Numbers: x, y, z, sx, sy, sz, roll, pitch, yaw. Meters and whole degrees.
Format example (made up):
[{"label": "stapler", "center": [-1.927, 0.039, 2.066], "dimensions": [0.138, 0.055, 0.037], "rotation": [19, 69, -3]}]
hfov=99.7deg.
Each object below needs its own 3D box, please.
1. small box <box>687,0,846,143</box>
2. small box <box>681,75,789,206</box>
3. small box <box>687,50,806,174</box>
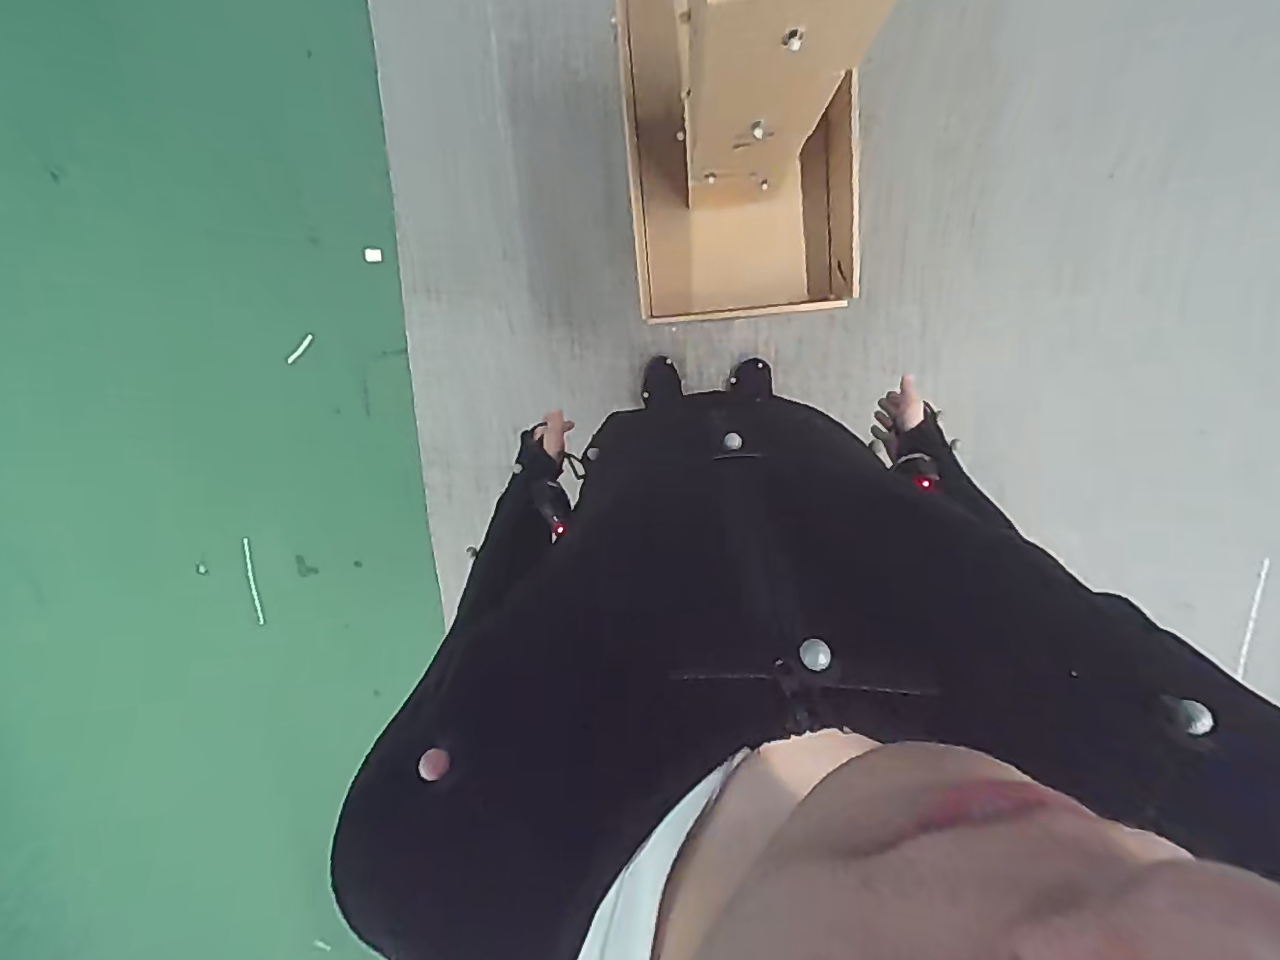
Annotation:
[{"label": "small box", "center": [0.145, -0.548, 0.663], "dimensions": [0.168, 0.176, 0.179], "rotation": [-3, 102, 5]}, {"label": "small box", "center": [0.168, -0.615, 0.984], "dimensions": [0.179, 0.176, 0.168], "rotation": [-4, 102, 5]}, {"label": "small box", "center": [0.157, -0.585, 0.823], "dimensions": [0.168, 0.176, 0.179], "rotation": [-1, 101, 4]}]
